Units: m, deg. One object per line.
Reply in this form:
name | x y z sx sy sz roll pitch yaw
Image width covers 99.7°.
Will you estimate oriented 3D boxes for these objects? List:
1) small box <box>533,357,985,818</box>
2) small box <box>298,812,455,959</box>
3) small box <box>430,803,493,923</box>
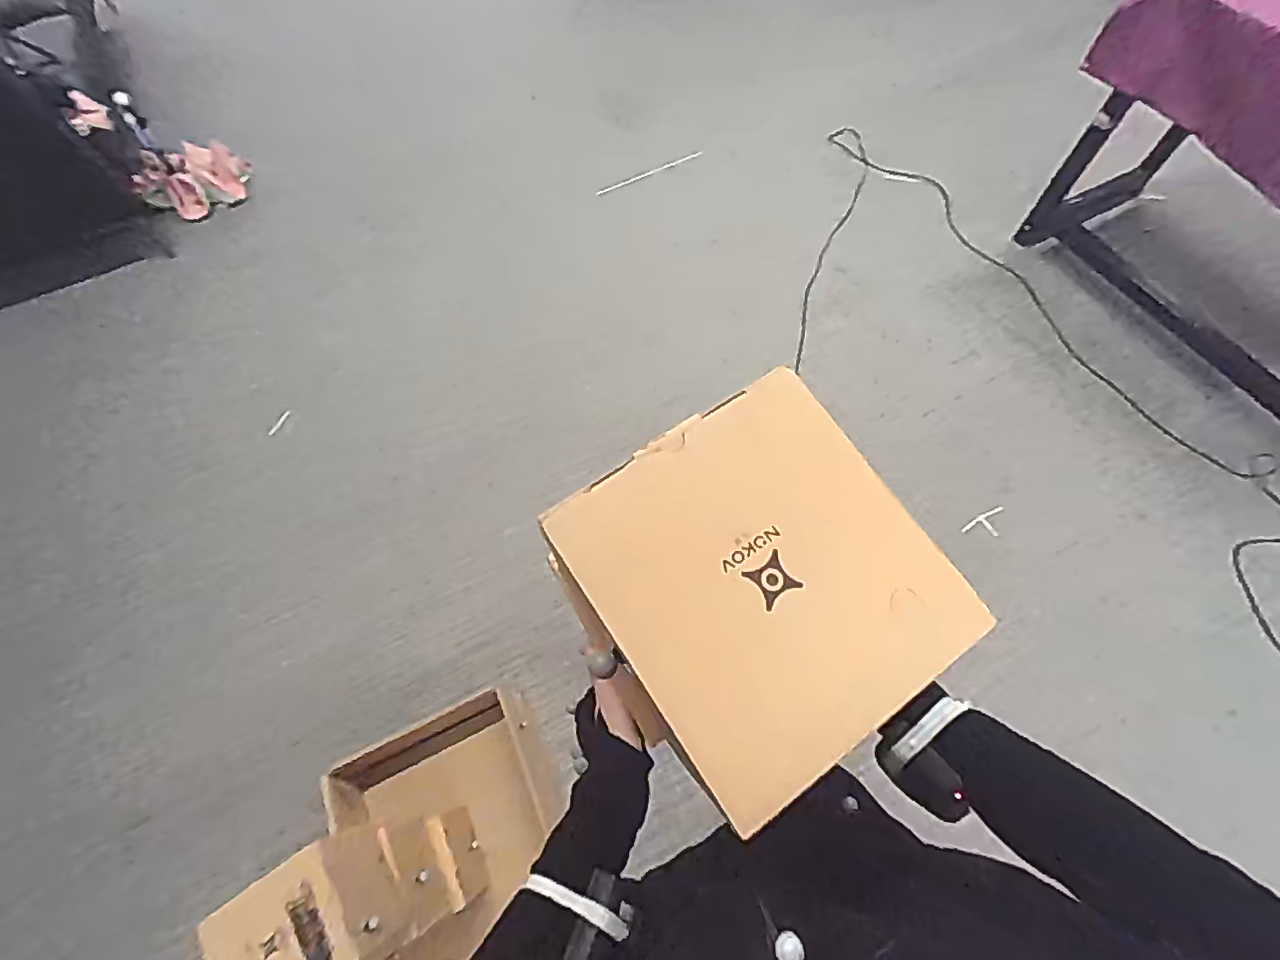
small box | 0.056 0.062 0.346 0.168 0.176 0.179 -32 77 -12
small box | -0.450 0.722 0.947 0.168 0.176 0.179 -29 68 -10
small box | -0.424 0.788 1.096 0.179 0.176 0.168 -24 68 -9
